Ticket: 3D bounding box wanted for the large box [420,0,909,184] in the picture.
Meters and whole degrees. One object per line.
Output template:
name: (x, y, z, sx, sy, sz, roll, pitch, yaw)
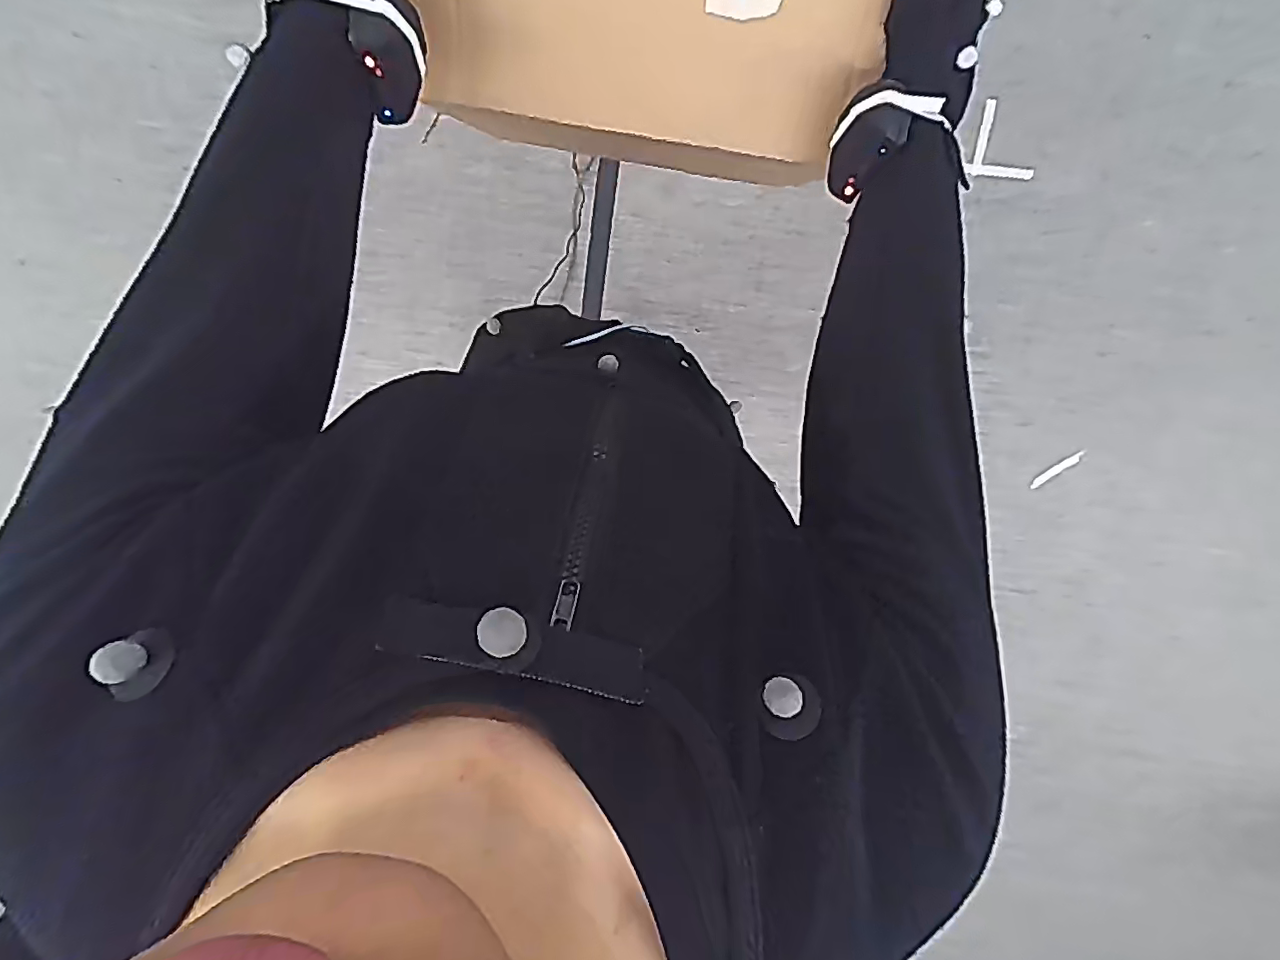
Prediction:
large box: (0.024, -0.505, 0.548, 0.408, 0.320, 0.320, 7, 117, -4)
